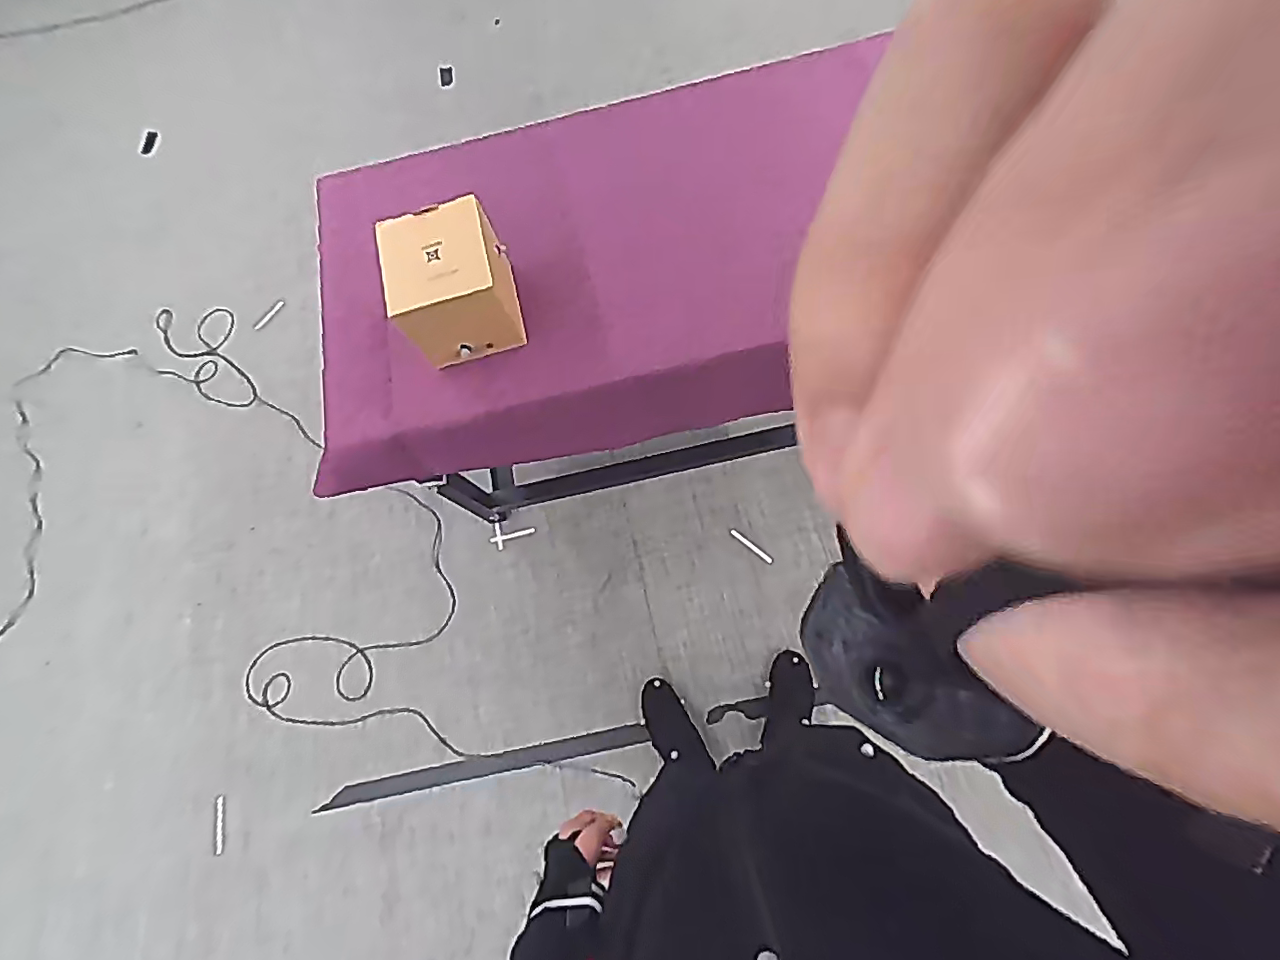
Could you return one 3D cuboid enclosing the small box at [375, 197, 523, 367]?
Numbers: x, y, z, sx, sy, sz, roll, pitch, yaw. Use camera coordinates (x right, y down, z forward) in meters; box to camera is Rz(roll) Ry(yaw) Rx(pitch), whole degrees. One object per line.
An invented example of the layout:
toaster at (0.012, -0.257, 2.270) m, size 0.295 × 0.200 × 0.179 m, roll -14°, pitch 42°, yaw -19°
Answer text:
small box at (-0.306, -0.316, 0.888) m, size 0.168 × 0.176 × 0.179 m, roll -15°, pitch 73°, yaw 2°
